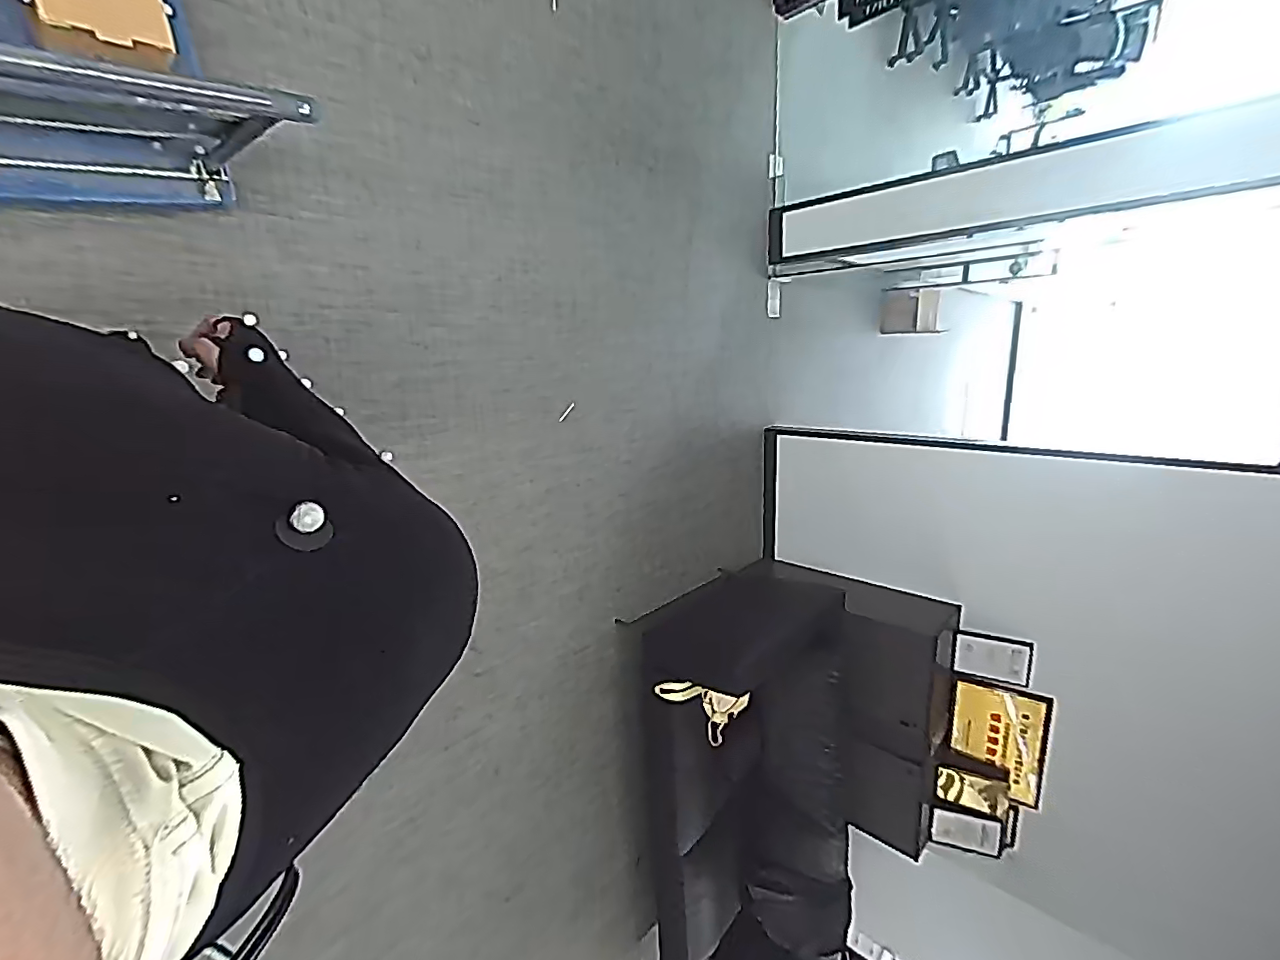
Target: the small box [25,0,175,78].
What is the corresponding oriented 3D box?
[{"bbox_3d":[-0.930,-0.829,0.916,0.168,0.176,0.179,-21,113,-43],"label":"small box"}]
